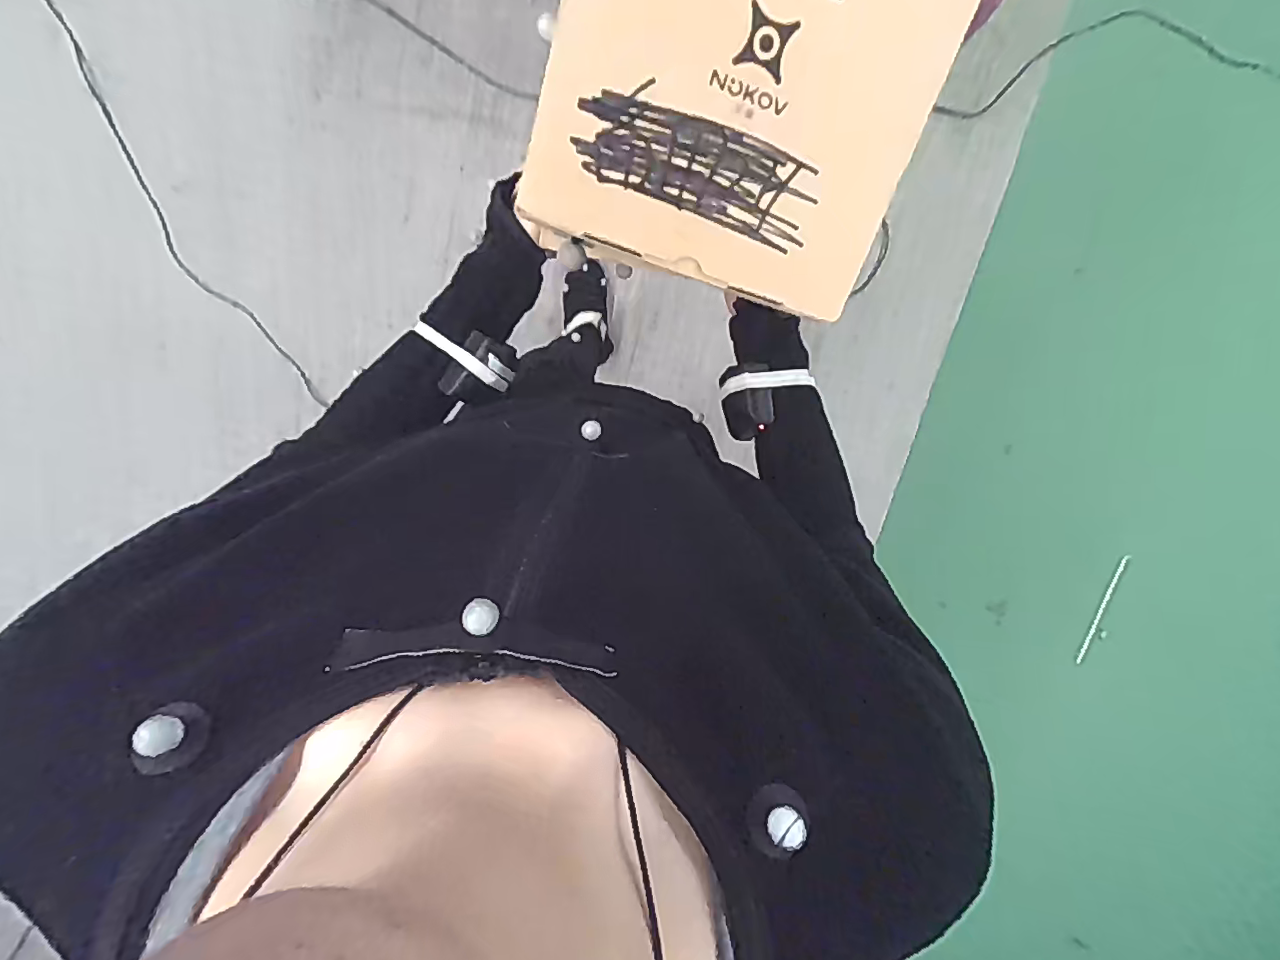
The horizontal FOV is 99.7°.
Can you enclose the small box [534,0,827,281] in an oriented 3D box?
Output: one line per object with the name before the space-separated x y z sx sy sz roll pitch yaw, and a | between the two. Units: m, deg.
small box | 0.017 -0.273 0.449 0.179 0.176 0.168 9 114 -10
